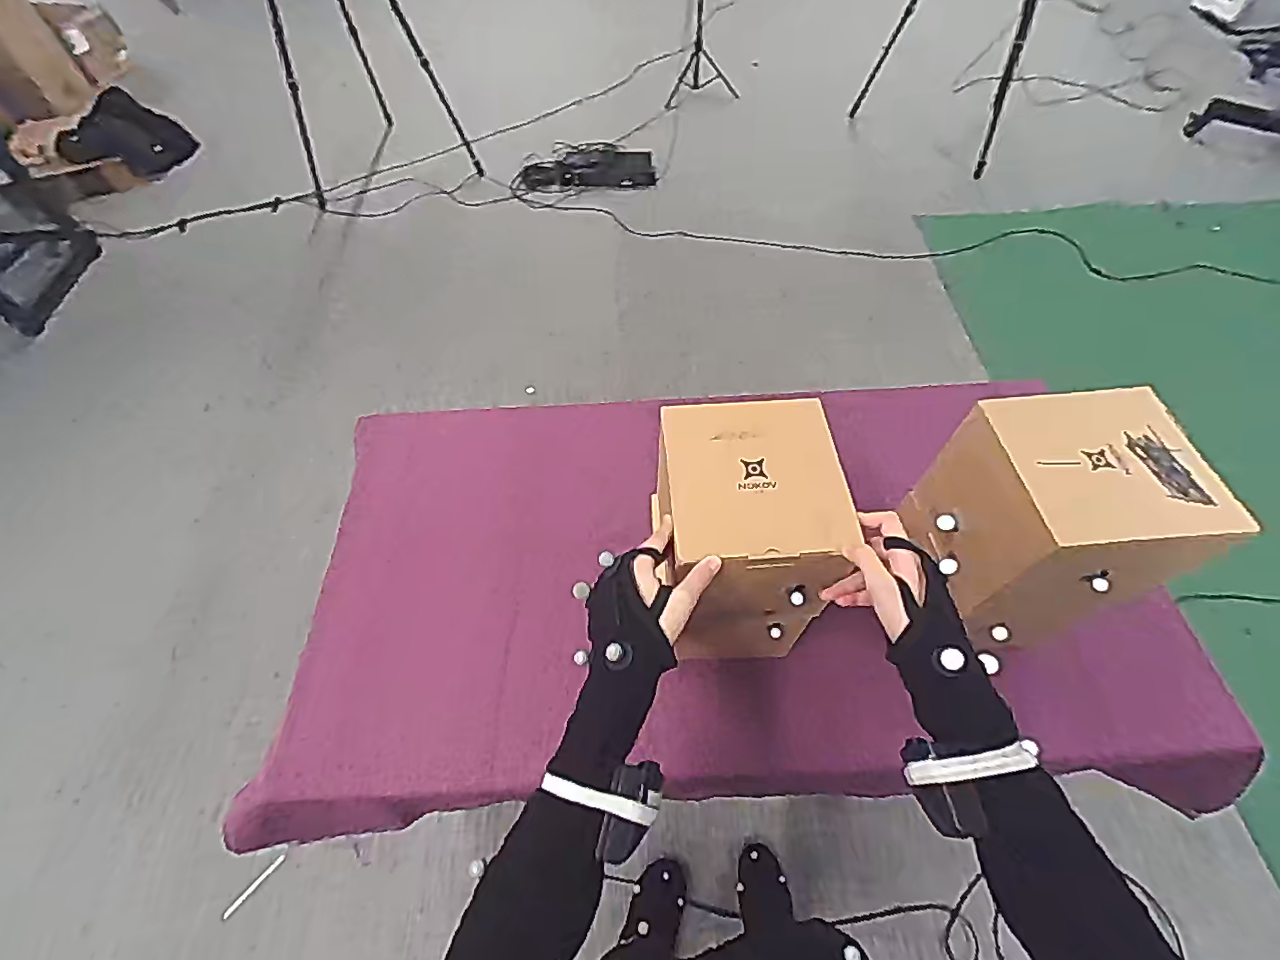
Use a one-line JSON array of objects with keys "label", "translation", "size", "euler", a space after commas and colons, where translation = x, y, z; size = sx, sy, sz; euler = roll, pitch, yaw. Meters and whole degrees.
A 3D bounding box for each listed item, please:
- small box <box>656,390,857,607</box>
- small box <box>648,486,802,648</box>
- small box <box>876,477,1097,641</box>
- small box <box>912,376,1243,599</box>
[{"label": "small box", "translation": [0.105, 0.028, 0.577], "size": [0.168, 0.176, 0.179], "euler": [-3, 56, -1]}, {"label": "small box", "translation": [0.103, 0.116, 0.713], "size": [0.179, 0.176, 0.168], "euler": [-3, 57, 0]}, {"label": "small box", "translation": [0.430, 0.101, 0.706], "size": [0.179, 0.176, 0.168], "euler": [-6, 57, 0]}, {"label": "small box", "translation": [0.424, 0.014, 0.566], "size": [0.179, 0.176, 0.168], "euler": [-5, 57, 0]}]
